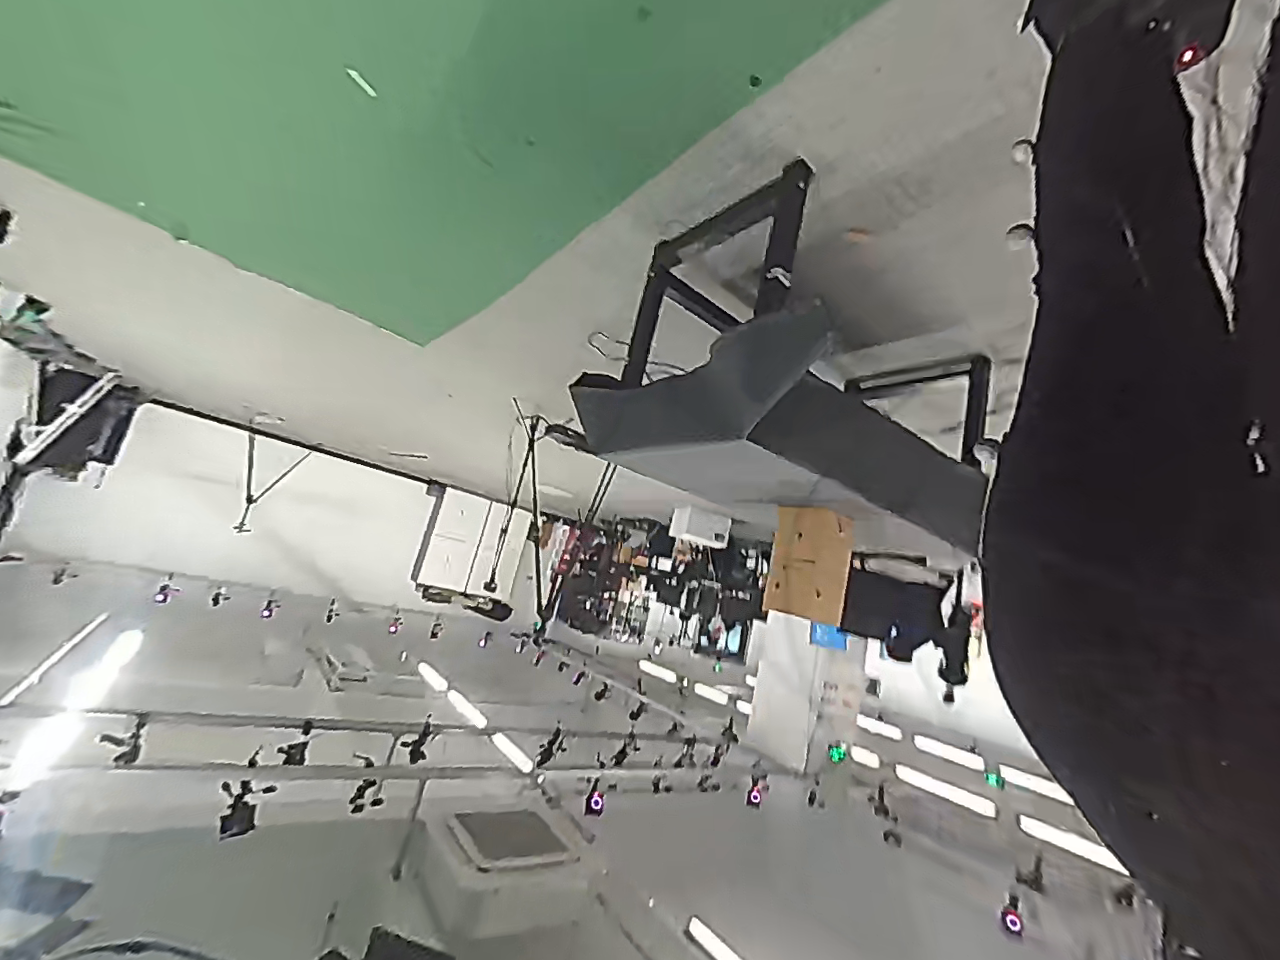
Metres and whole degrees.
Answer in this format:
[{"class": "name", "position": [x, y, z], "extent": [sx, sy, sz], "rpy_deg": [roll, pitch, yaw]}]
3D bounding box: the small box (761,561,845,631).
[{"class": "small box", "position": [0.500, 0.352, 1.659], "extent": [0.179, 0.176, 0.168], "rpy_deg": [22, 167, -33]}]

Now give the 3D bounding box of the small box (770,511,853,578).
[{"class": "small box", "position": [0.539, 0.195, 1.688], "extent": [0.168, 0.176, 0.179], "rpy_deg": [22, 165, -35]}]
